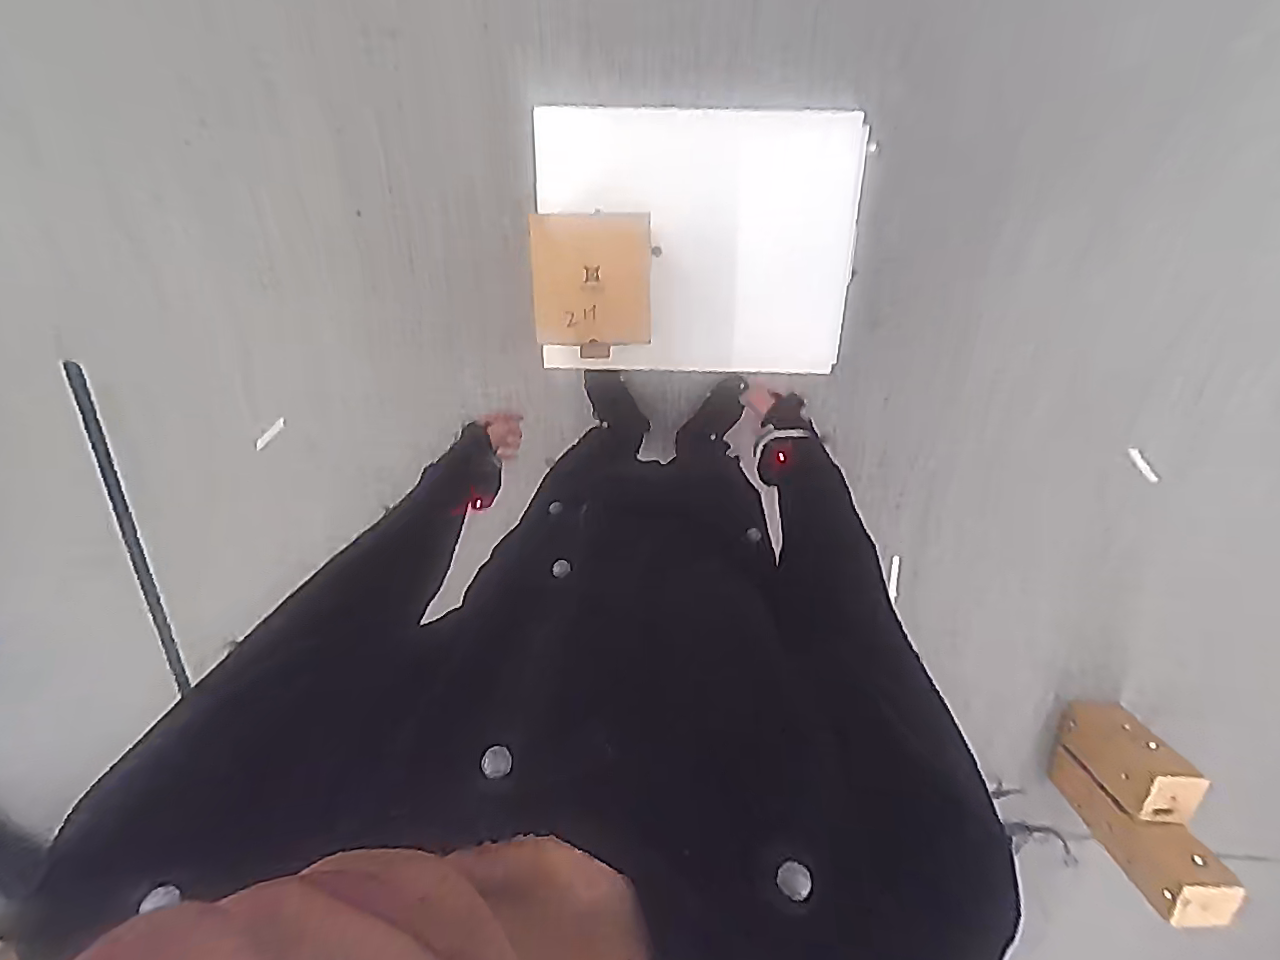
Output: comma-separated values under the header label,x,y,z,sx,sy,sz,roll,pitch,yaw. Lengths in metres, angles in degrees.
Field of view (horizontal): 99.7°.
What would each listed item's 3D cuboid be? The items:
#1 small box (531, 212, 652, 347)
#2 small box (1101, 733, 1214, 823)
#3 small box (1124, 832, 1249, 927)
label,x,y,z,sx,sy,sz,roll,pitch,yaw
small box,-0.066,-0.298,0.822,0.168,0.176,0.179,0,109,1
small box,1.602,0.928,1.688,0.168,0.176,0.179,4,108,-1
small box,1.608,1.176,1.602,0.179,0.176,0.168,-2,109,0
